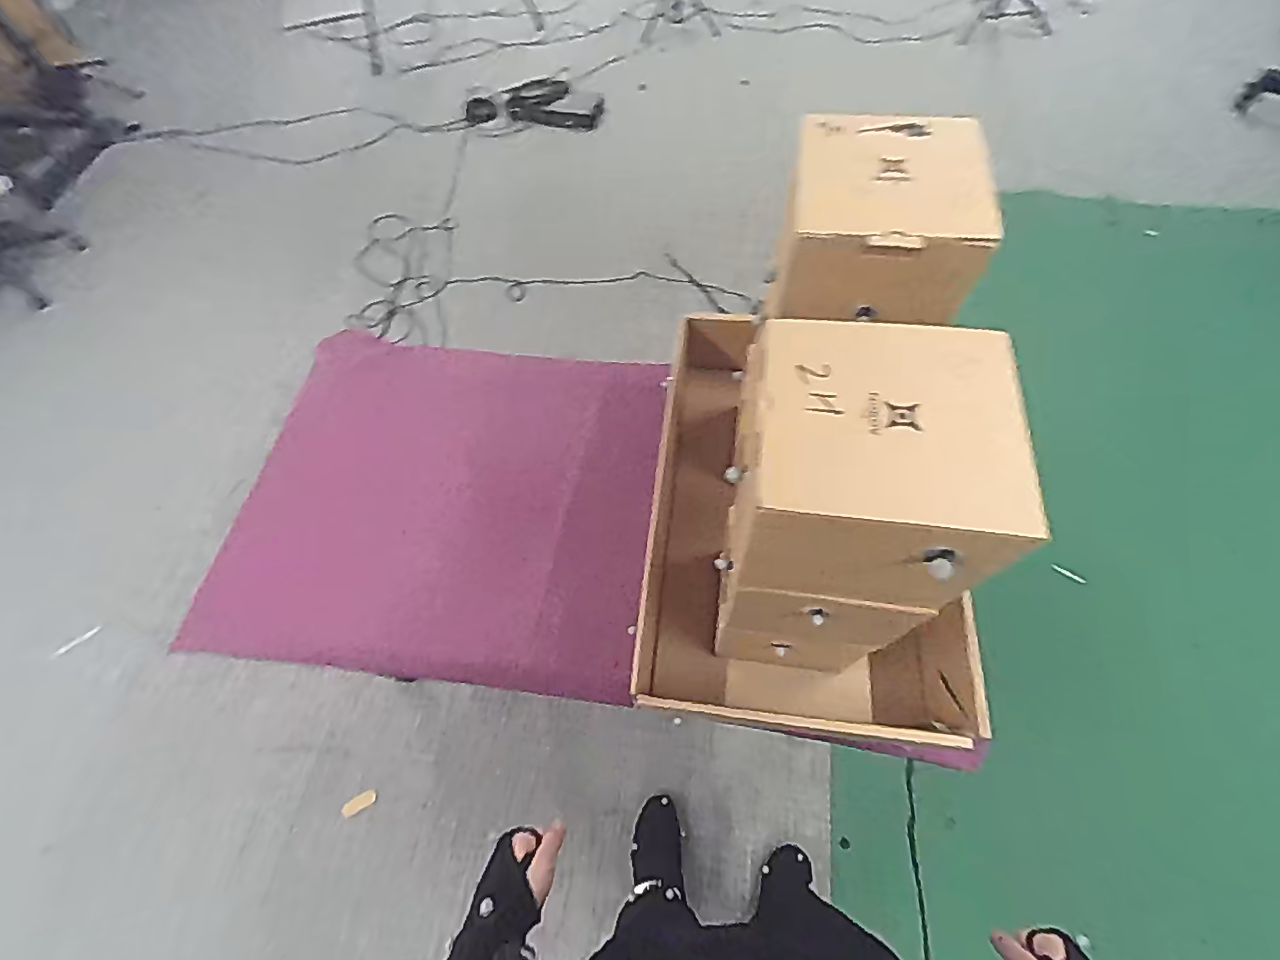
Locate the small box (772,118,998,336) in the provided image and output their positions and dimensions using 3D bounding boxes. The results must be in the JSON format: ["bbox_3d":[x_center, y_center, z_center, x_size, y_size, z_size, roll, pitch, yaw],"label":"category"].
[{"bbox_3d":[0.234,-0.236,0.560,0.168,0.176,0.179,7,64,7],"label":"small box"}]

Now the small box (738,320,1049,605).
[{"bbox_3d":[0.180,-0.005,0.441,0.179,0.176,0.168,6,62,9],"label":"small box"}]

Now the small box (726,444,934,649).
[{"bbox_3d":[0.191,0.075,0.585,0.179,0.176,0.168,8,63,8],"label":"small box"}]
